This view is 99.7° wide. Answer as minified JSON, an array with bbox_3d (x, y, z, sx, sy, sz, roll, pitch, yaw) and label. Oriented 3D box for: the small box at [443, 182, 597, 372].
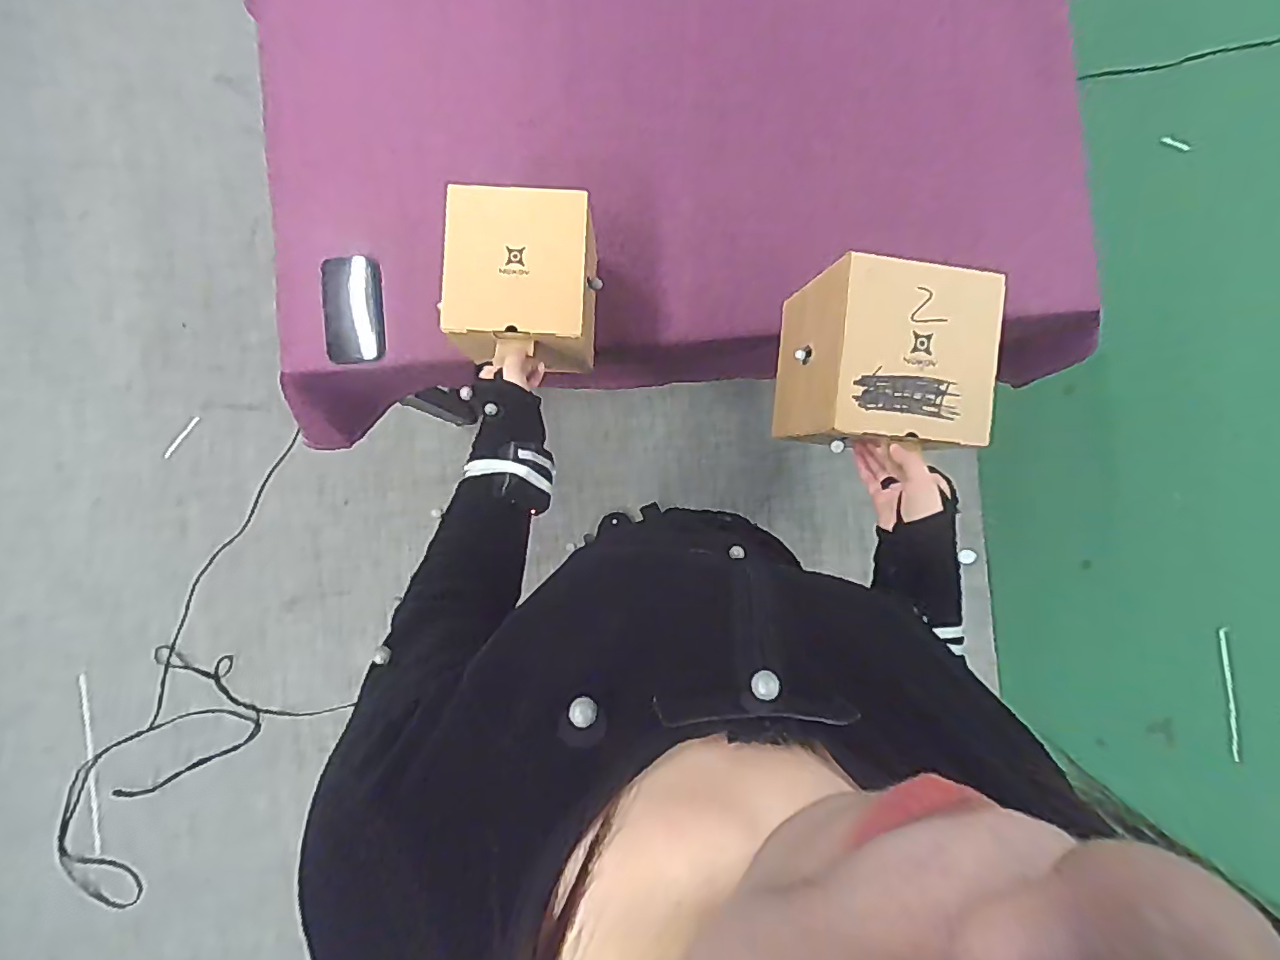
[{"bbox_3d":[-0.144,-0.252,0.706,0.168,0.176,0.179,3,88,-2],"label":"small box"}]
